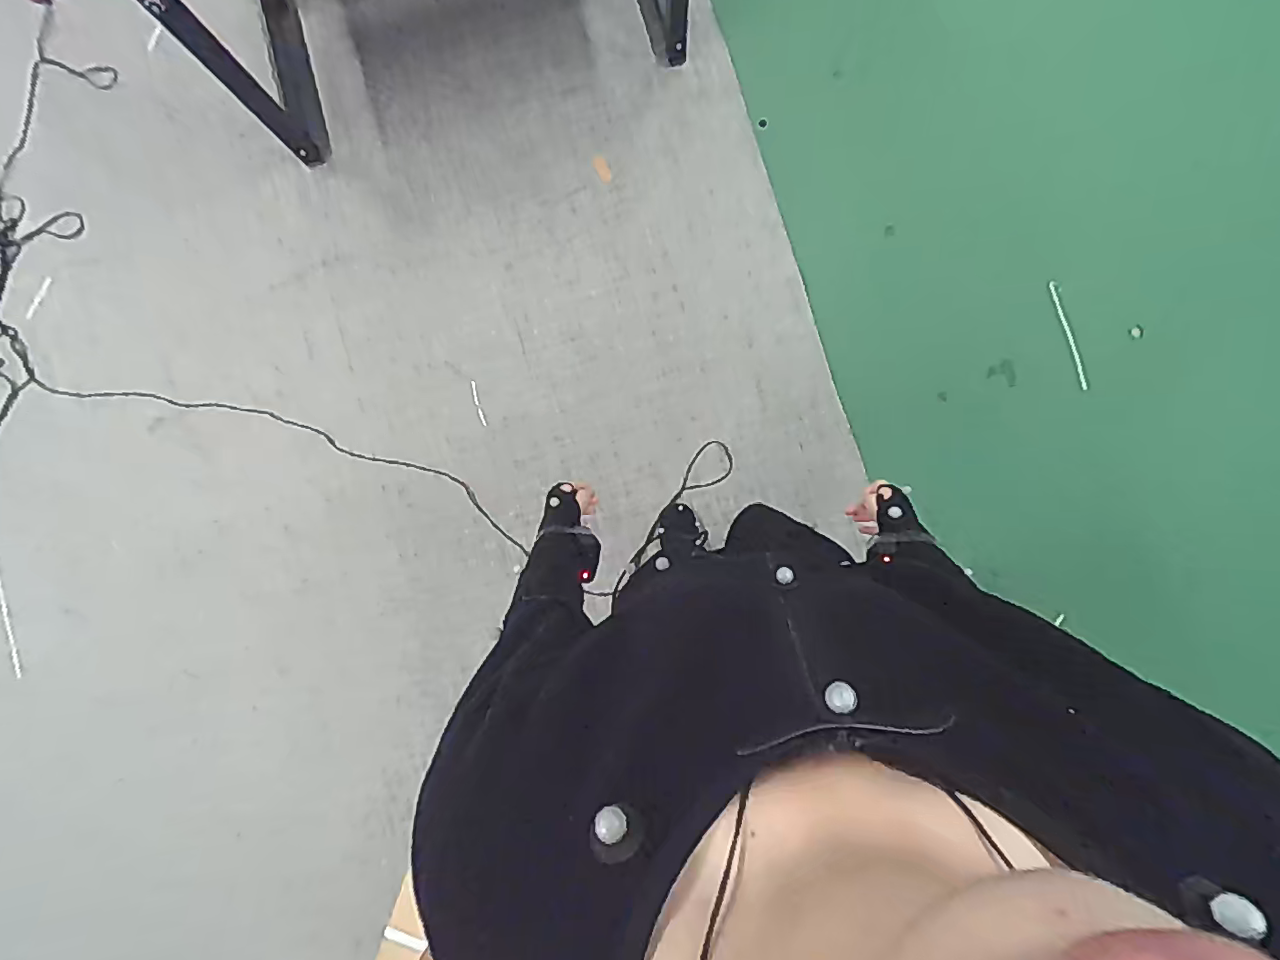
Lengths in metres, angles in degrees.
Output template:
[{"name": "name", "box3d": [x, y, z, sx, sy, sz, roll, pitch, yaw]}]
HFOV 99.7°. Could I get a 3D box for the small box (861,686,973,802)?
[{"name": "small box", "box3d": [0.571, 0.531, 1.073, 0.168, 0.176, 0.179, -25, 85, 1]}]
